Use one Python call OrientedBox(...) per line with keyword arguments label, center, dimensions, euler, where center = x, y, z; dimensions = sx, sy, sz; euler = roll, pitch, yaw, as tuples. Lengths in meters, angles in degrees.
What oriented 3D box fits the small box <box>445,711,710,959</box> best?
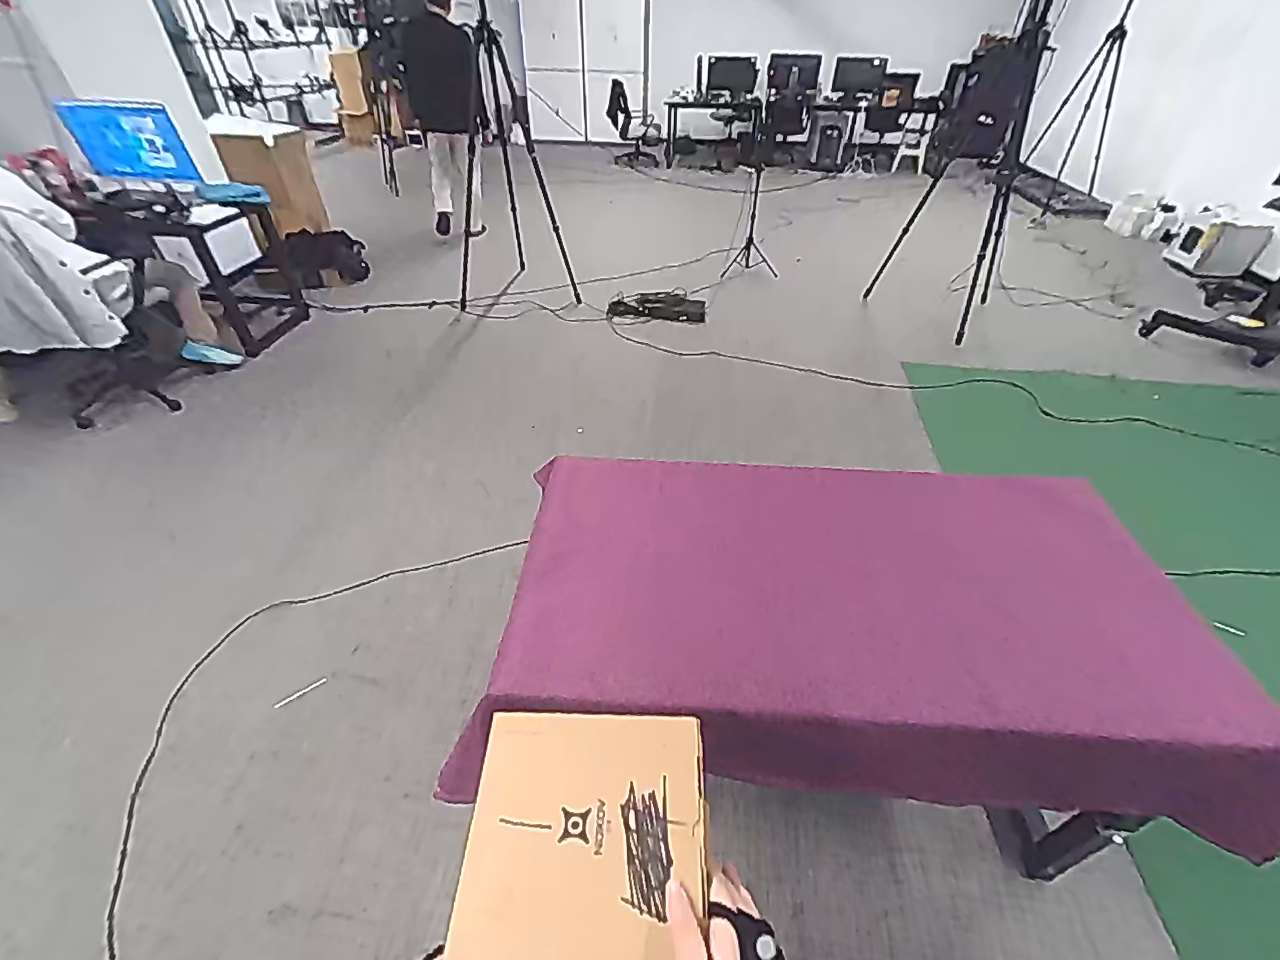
OrientedBox(label="small box", center=(-0.037, 0.314, 0.463), dimensions=(0.179, 0.176, 0.168), euler=(0, 46, 3))
